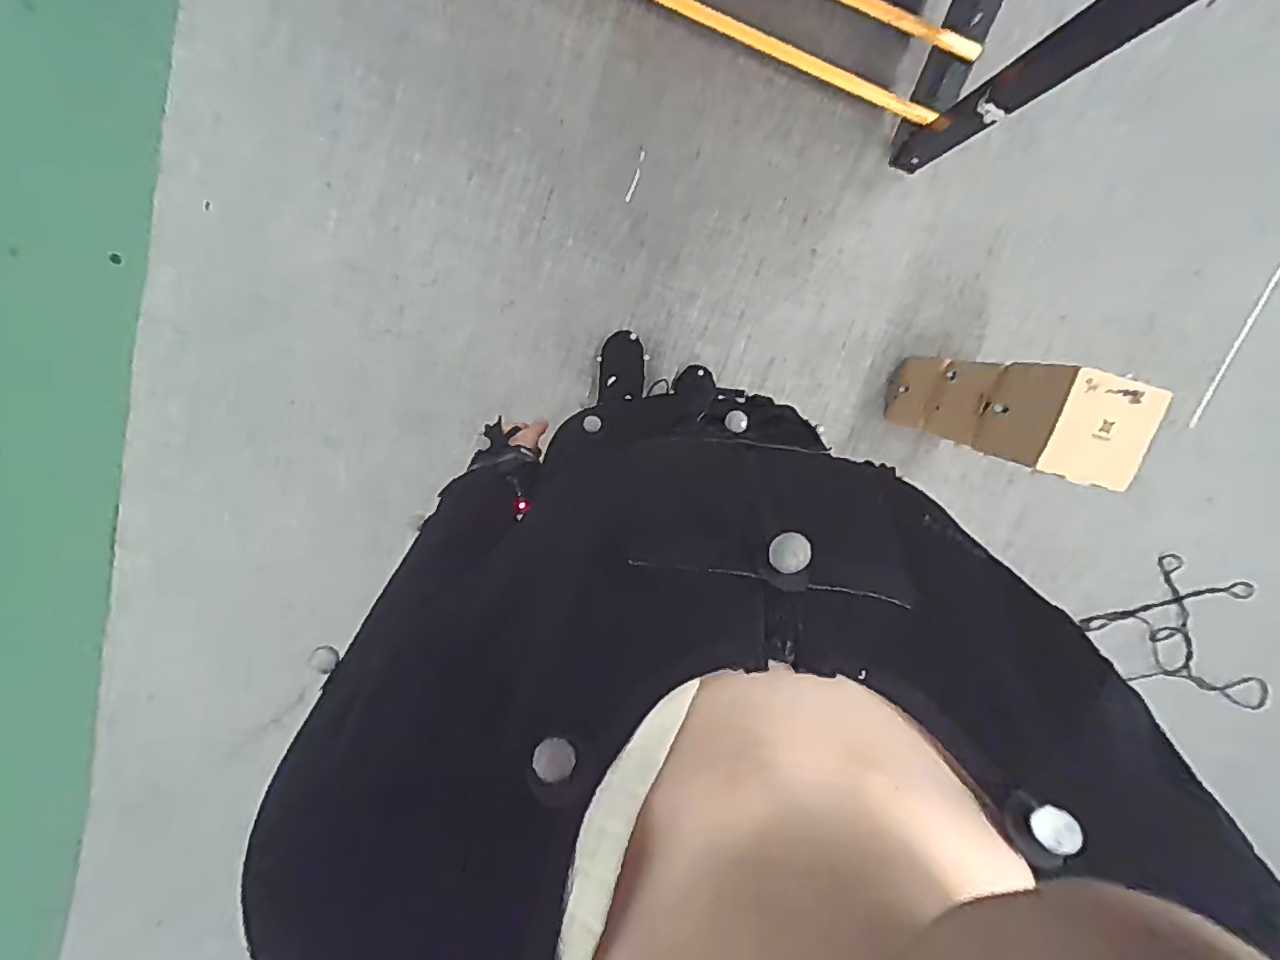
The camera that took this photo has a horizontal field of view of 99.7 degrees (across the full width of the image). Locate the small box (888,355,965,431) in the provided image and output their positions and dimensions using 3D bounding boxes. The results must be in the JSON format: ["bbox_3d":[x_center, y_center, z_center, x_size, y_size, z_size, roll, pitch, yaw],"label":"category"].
[{"bbox_3d":[0.718,-0.192,1.258,0.179,0.176,0.168,14,103,-4],"label":"small box"}]

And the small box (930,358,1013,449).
[{"bbox_3d":[0.733,-0.146,1.100,0.179,0.176,0.168,14,104,-6],"label":"small box"}]

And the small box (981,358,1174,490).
[{"bbox_3d":[0.741,-0.105,0.942,0.168,0.176,0.179,14,104,-5],"label":"small box"}]
